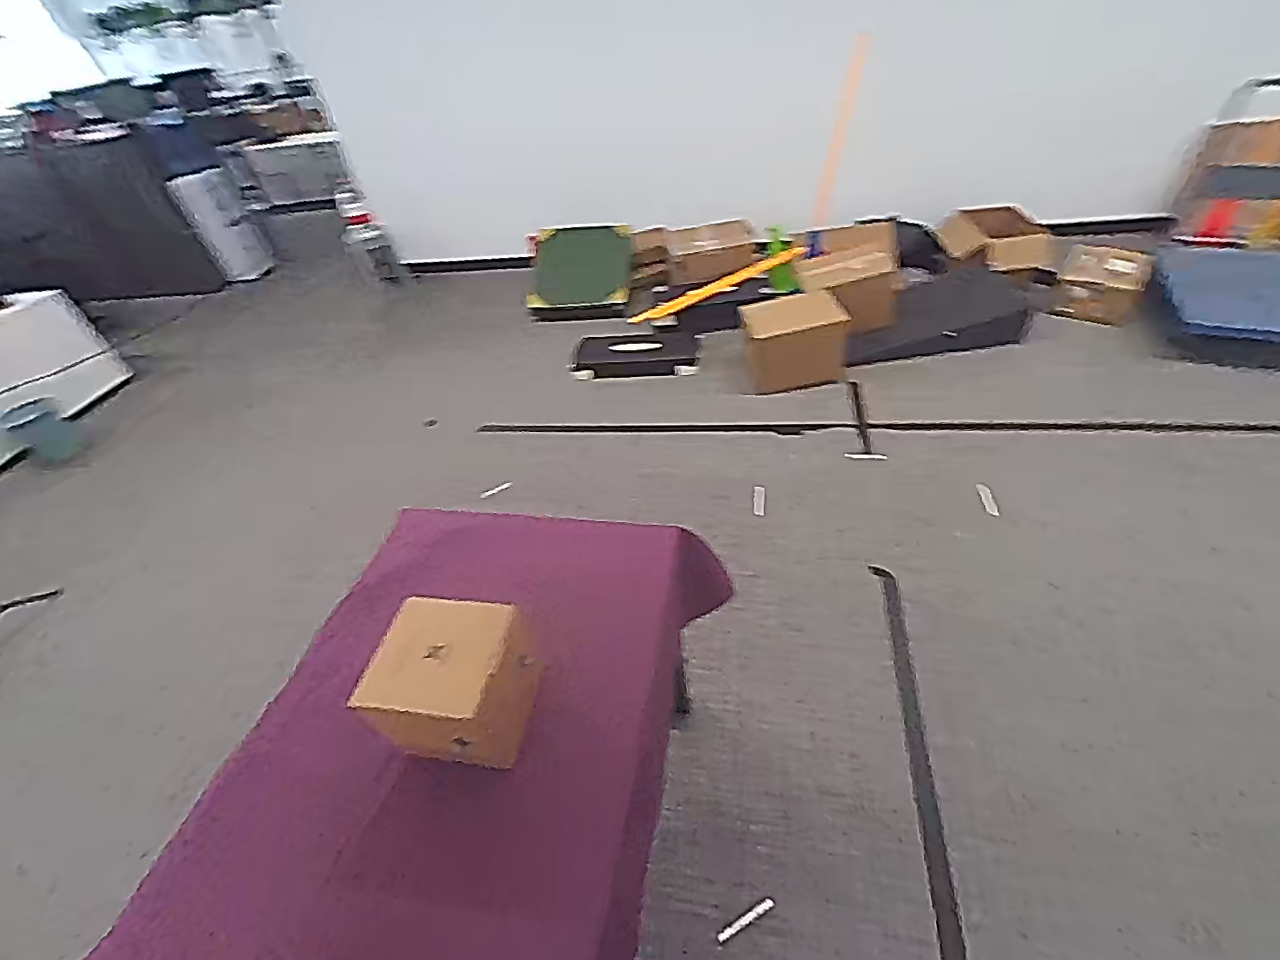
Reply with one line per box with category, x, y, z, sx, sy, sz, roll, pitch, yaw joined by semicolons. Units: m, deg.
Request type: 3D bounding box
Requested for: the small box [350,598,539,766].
small box;-0.263;0.292;0.779;0.179;0.176;0.168;1;44;12
